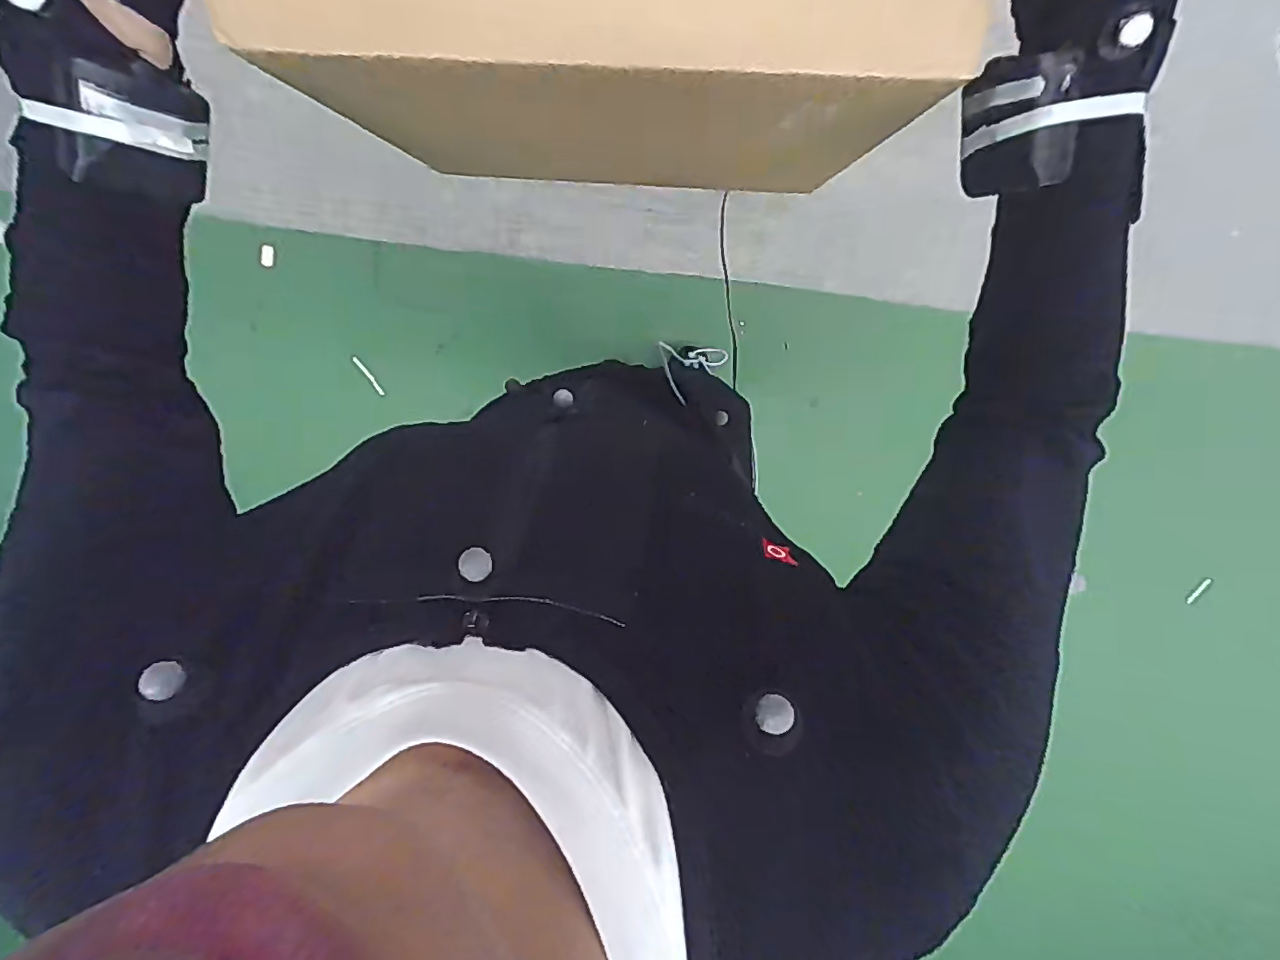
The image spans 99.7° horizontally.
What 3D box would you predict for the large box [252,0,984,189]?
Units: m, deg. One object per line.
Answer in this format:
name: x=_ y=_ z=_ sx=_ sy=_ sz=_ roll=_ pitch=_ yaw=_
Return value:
large box: x=-0.008 y=-0.419 z=0.397 sx=0.408 sy=0.320 sz=0.320 roll=3 pitch=109 yaw=1
